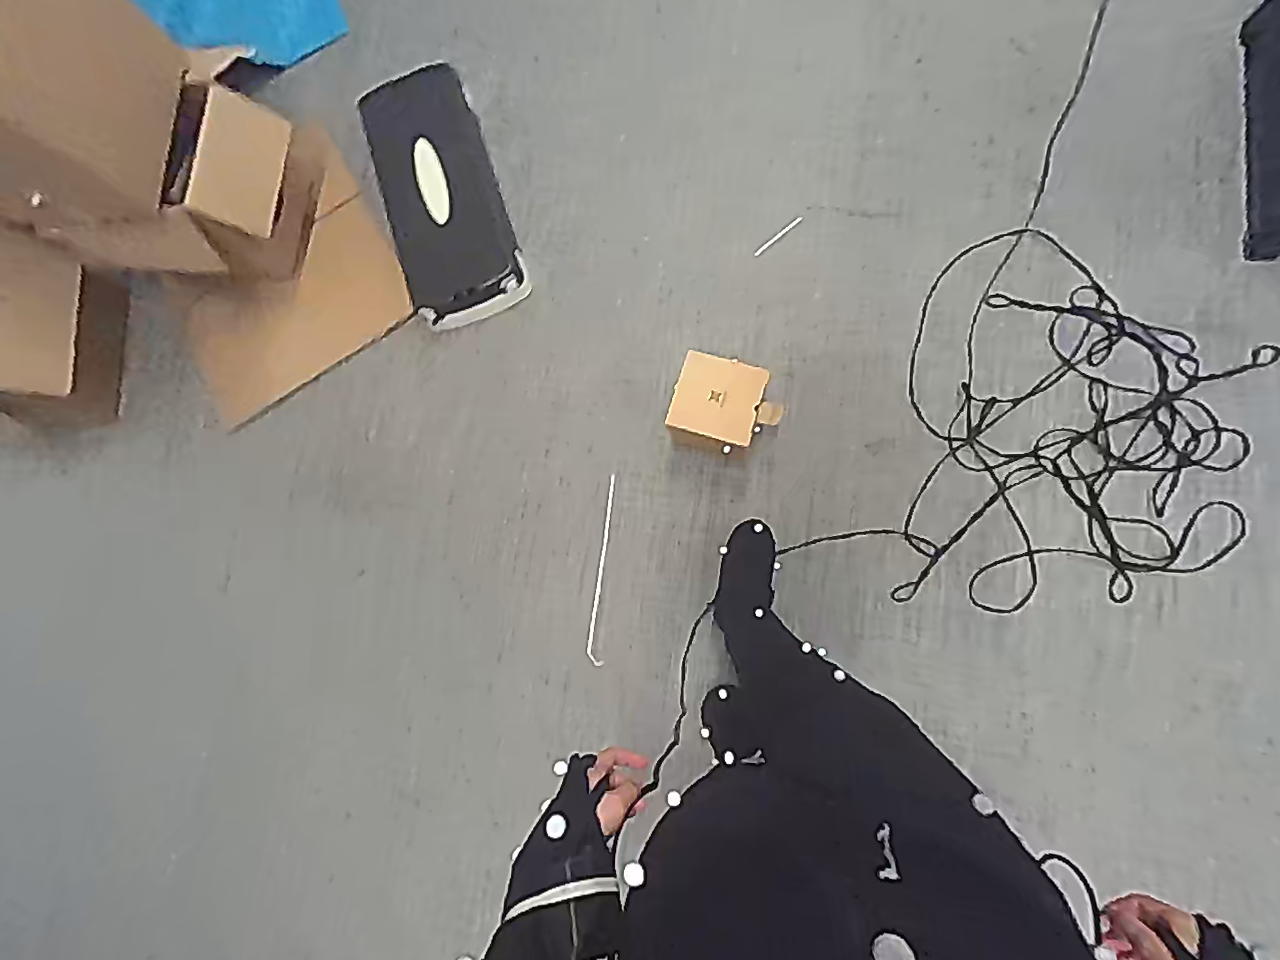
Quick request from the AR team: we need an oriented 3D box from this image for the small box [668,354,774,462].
[{"bbox_3d":[0.172,-0.147,1.166,0.179,0.176,0.168,17,84,9],"label":"small box"}]
